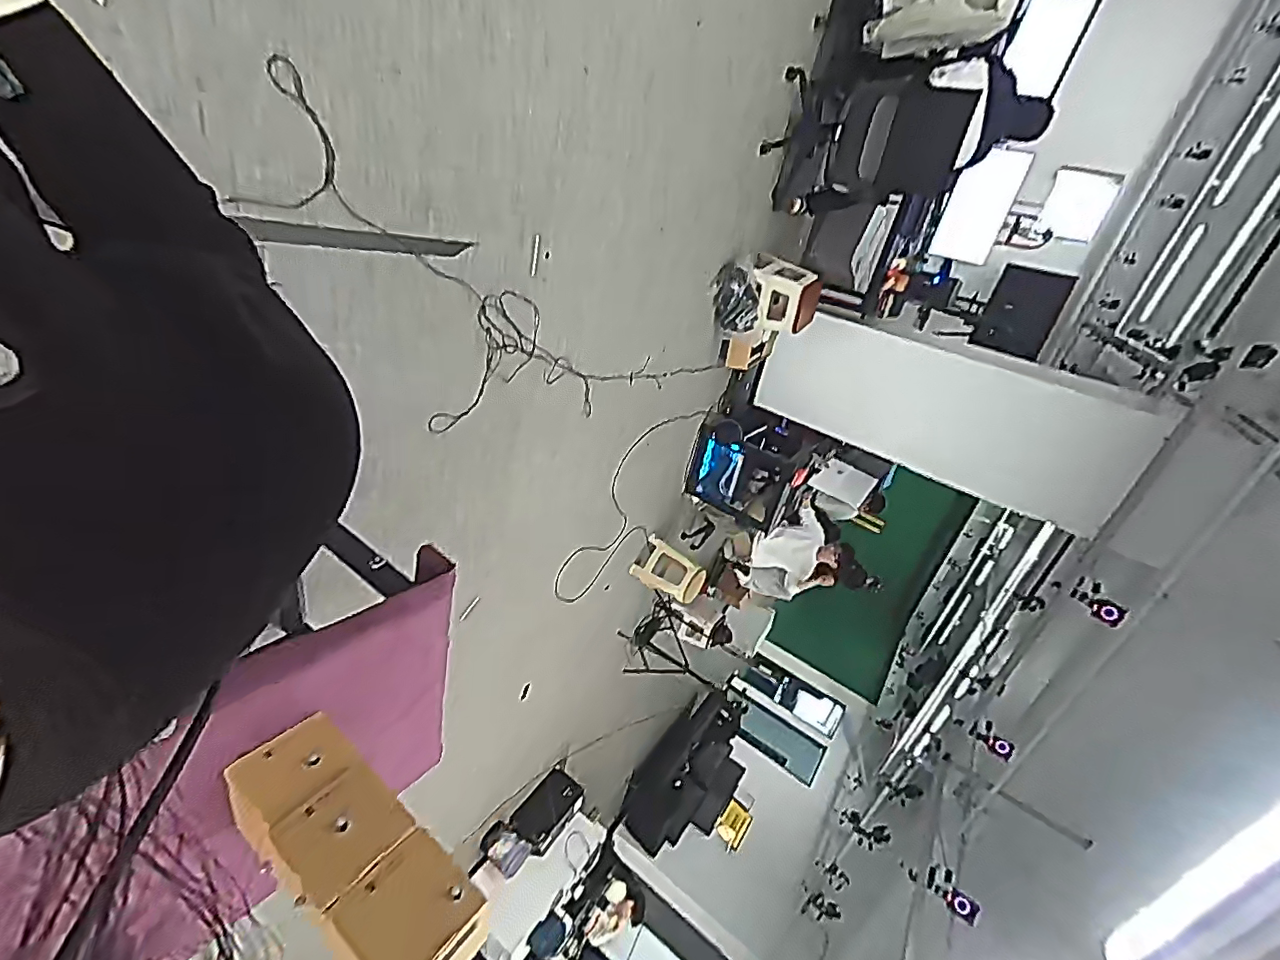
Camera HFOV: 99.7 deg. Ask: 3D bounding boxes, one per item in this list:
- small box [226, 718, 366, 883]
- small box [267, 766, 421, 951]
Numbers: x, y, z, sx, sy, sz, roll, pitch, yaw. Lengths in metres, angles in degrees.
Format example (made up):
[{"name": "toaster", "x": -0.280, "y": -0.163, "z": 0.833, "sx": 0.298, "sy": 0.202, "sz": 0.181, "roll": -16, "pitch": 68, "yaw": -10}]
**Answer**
[{"name": "small box", "x": -0.634, "y": 0.579, "z": 1.006, "sx": 0.168, "sy": 0.176, "sz": 0.179, "roll": -27, "pitch": 138, "yaw": -51}, {"name": "small box", "x": -0.501, "y": 0.631, "z": 0.924, "sx": 0.168, "sy": 0.176, "sz": 0.179, "roll": -31, "pitch": 141, "yaw": -47}]
